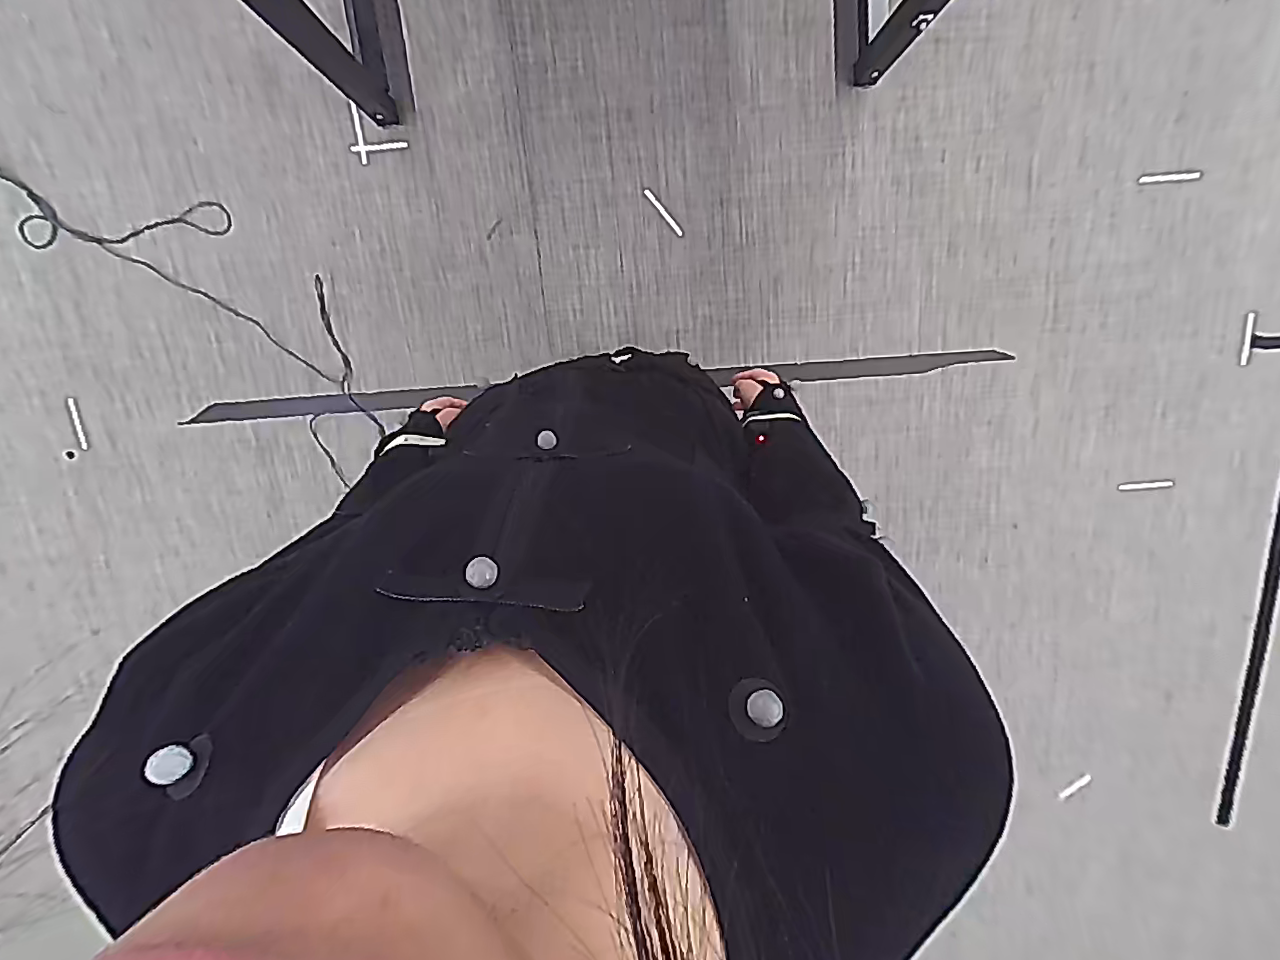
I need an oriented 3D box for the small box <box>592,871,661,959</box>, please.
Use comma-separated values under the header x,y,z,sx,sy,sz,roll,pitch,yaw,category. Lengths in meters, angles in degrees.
x,y,z,sx,sy,sz,roll,pitch,yaw,category
-0.035,1.231,1.494,0.168,0.176,0.179,-9,103,0,small box
